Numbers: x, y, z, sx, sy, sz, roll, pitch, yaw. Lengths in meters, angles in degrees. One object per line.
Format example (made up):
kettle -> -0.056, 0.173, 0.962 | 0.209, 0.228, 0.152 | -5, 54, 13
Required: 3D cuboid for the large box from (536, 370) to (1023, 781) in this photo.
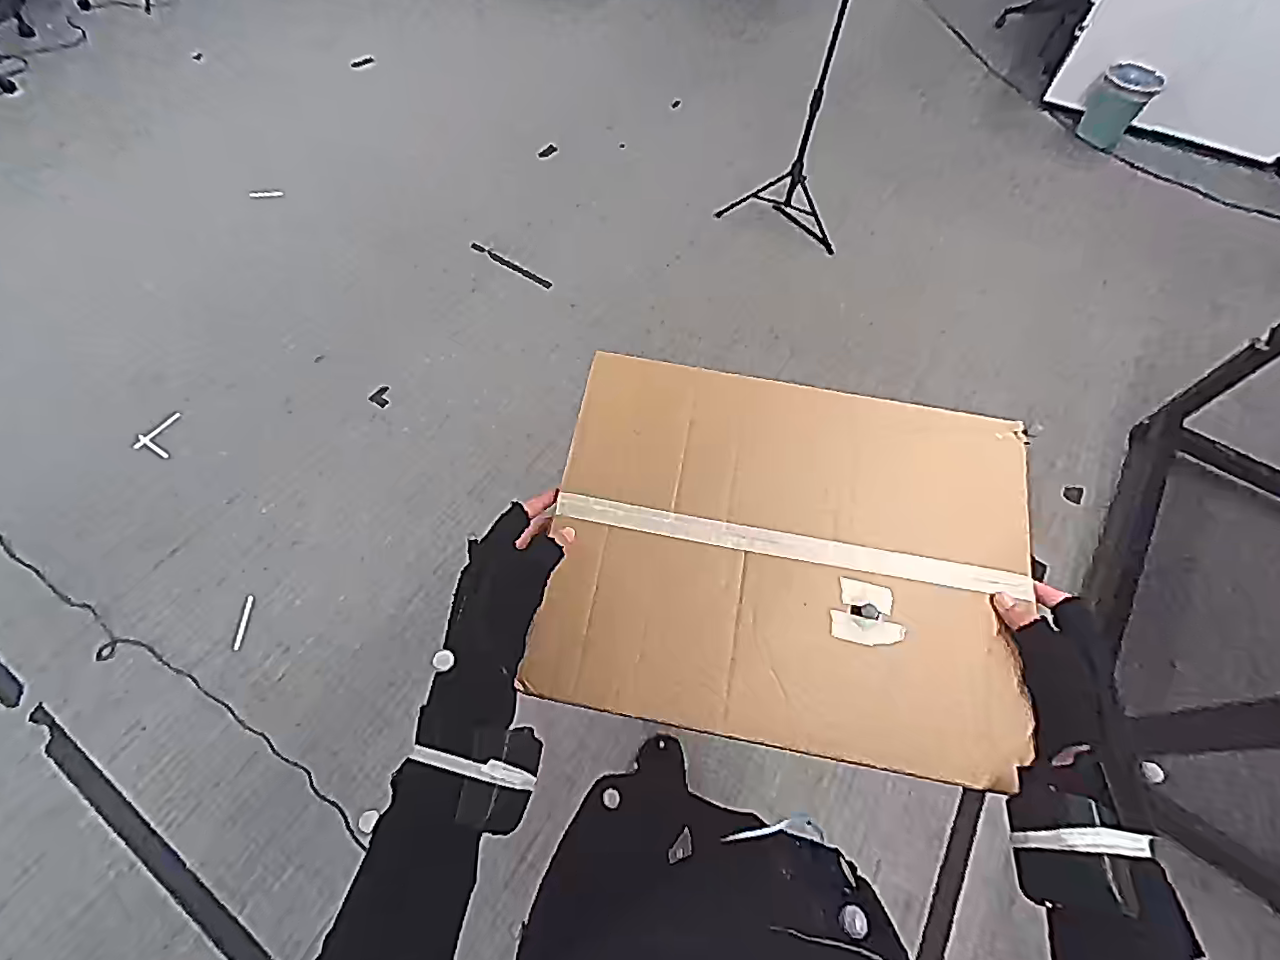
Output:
large box -> 0.131, 0.110, 0.621 | 0.408, 0.320, 0.320 | 11, 72, 3
